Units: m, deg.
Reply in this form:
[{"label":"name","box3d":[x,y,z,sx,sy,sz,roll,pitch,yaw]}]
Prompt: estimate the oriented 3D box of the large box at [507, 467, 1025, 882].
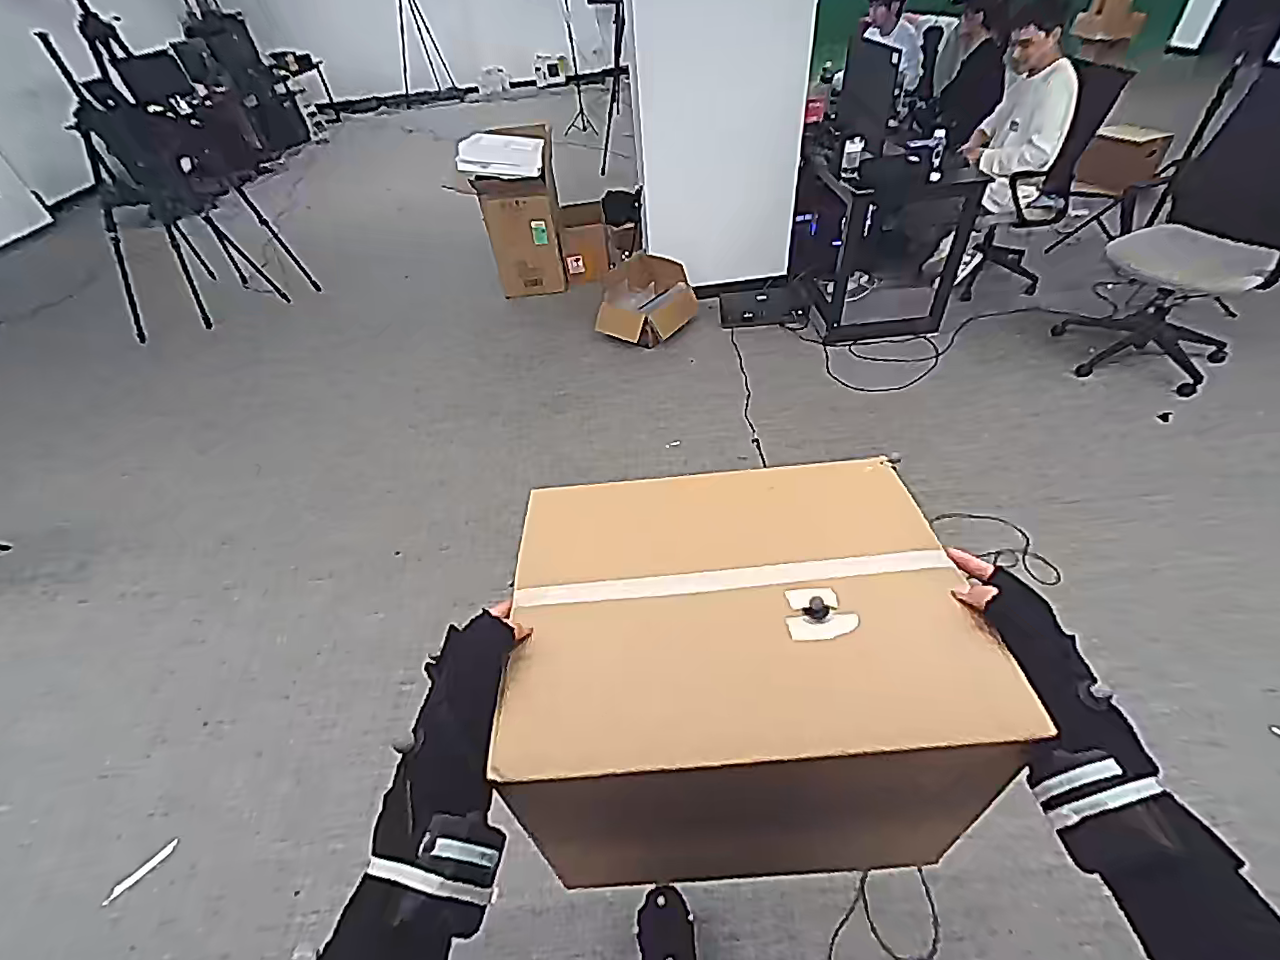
[{"label":"large box","box3d":[0.097,0.216,0.613,0.408,0.320,0.320,-5,41,1]}]
